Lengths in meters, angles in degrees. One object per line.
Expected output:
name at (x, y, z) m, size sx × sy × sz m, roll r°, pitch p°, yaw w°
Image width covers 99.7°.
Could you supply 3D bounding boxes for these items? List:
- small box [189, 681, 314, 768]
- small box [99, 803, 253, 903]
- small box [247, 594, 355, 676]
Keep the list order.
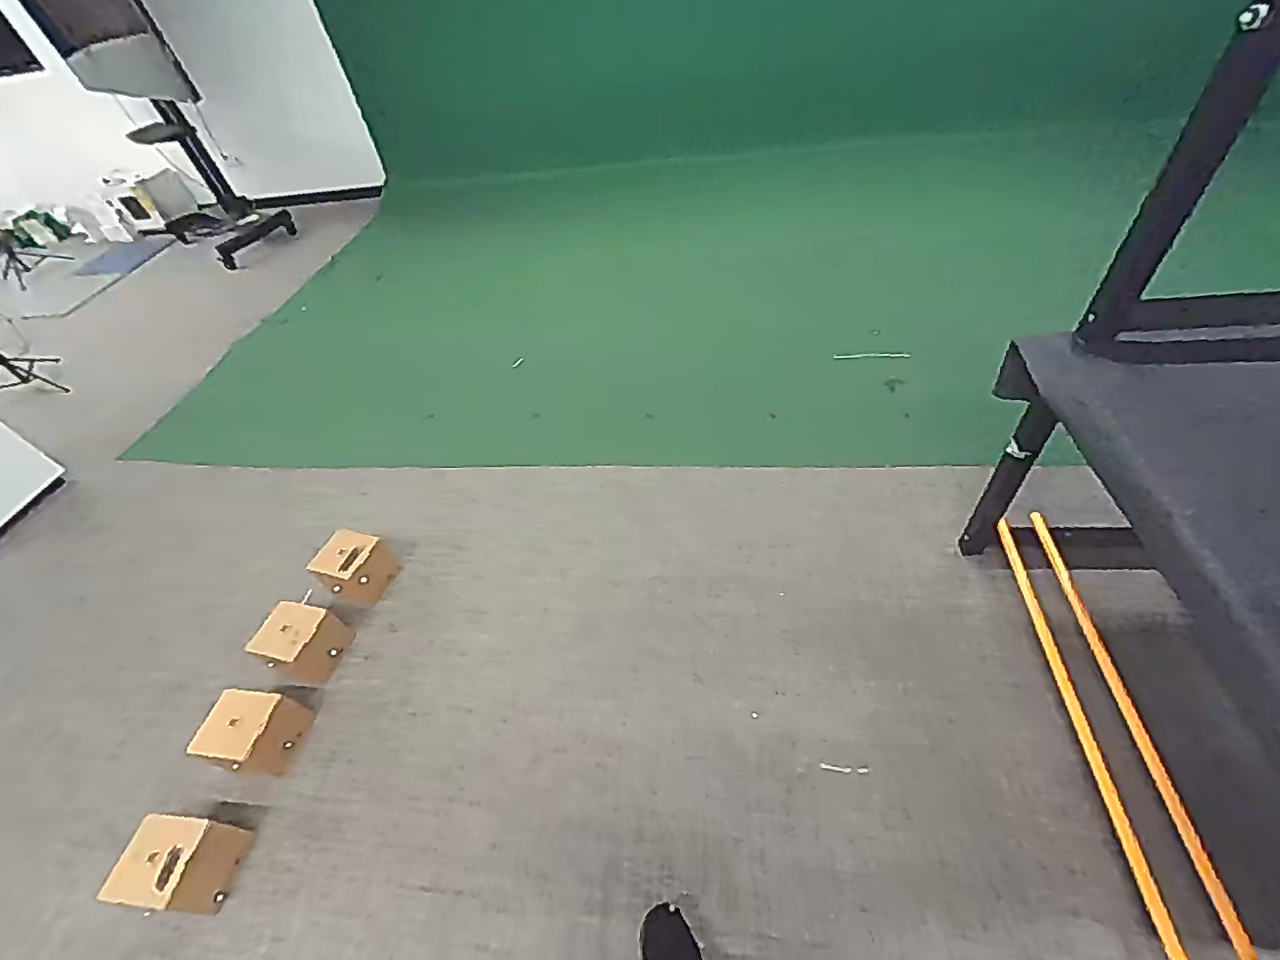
small box at (-1.036, 0.661, 1.459) m, size 0.179 × 0.176 × 0.168 m, roll 2°, pitch 49°, yaw 10°
small box at (-1.069, 0.877, 1.267) m, size 0.179 × 0.176 × 0.168 m, roll 0°, pitch 48°, yaw 10°
small box at (-1.011, 0.469, 1.627) m, size 0.179 × 0.176 × 0.168 m, roll 8°, pitch 50°, yaw 15°
